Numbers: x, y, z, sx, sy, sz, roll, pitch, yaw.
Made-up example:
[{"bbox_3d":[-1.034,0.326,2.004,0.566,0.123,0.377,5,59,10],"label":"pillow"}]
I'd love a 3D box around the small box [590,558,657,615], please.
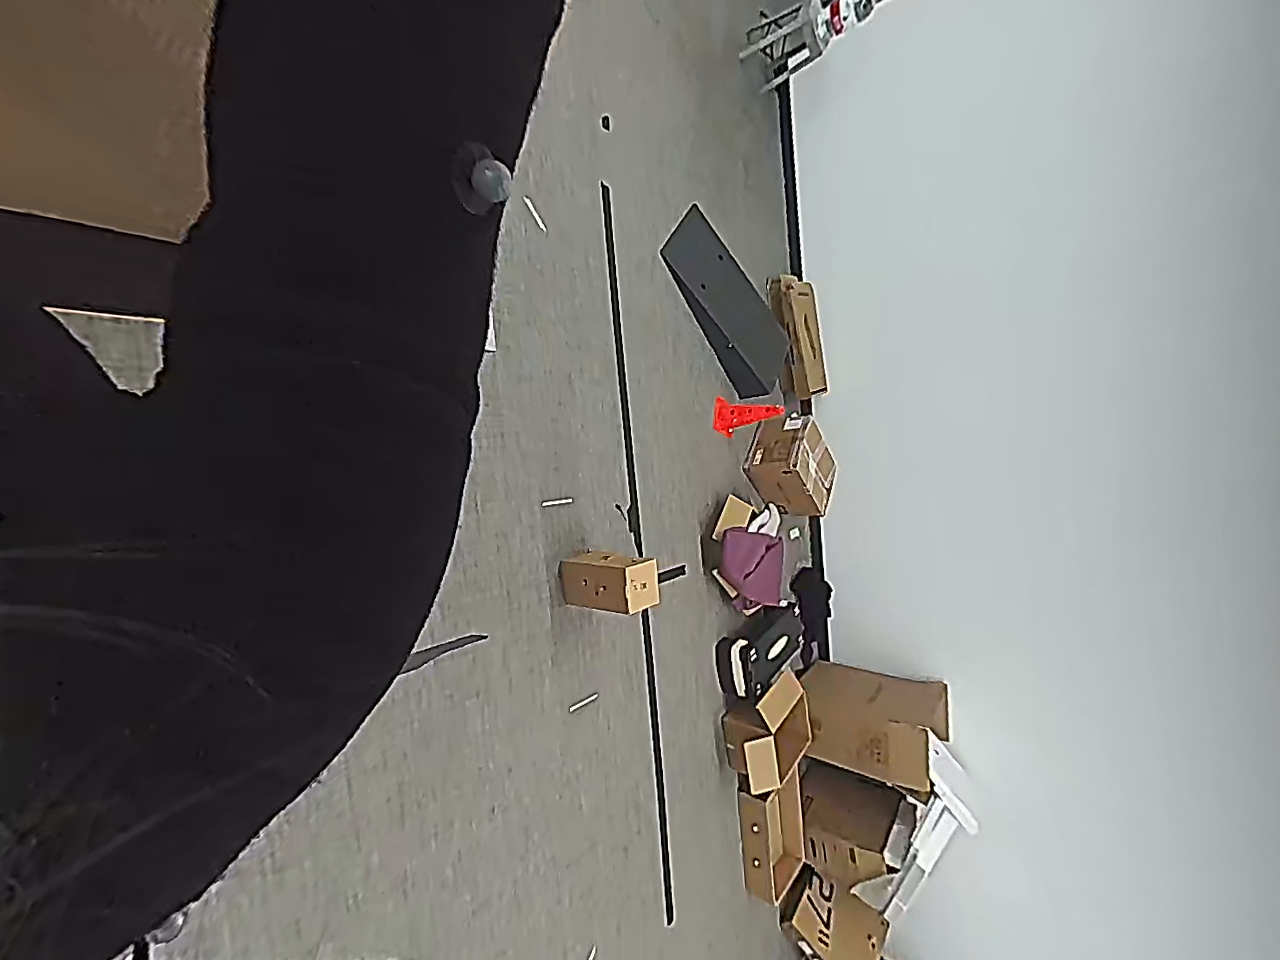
[{"bbox_3d":[-0.061,0.380,1.961,0.179,0.176,0.168,-7,93,-50],"label":"small box"}]

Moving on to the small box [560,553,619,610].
[{"bbox_3d":[-0.188,0.380,2.065,0.168,0.176,0.179,-13,98,-50],"label":"small box"}]
